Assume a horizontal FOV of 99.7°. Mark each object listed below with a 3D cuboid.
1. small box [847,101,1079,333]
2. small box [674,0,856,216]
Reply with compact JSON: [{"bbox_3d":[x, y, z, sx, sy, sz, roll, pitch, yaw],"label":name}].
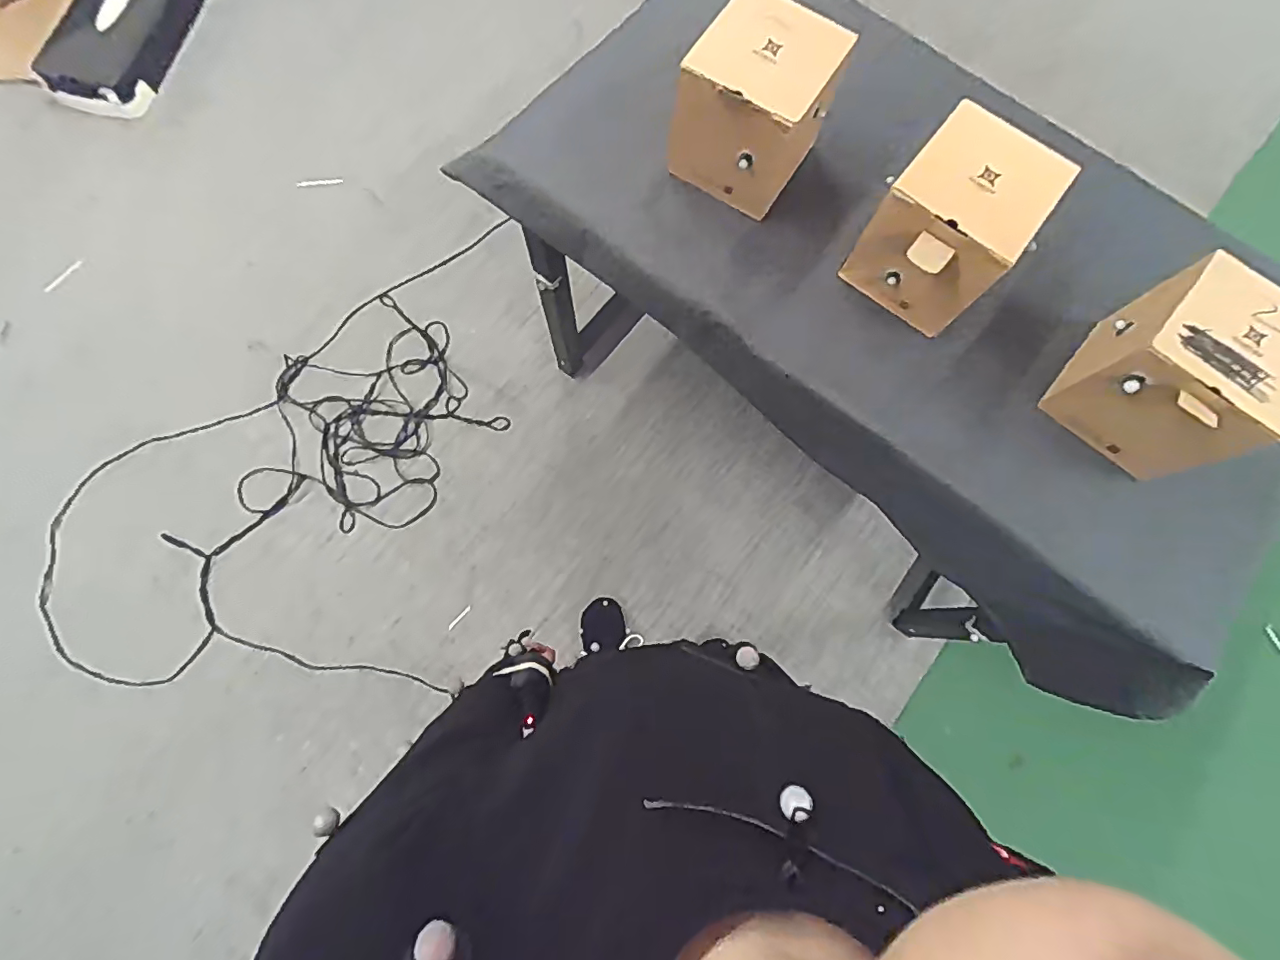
[{"bbox_3d":[0.408,-0.334,0.715,0.168,0.176,0.179,38,78,7],"label":"small box"},{"bbox_3d":[0.159,-0.513,0.751,0.168,0.176,0.179,32,76,5],"label":"small box"}]
